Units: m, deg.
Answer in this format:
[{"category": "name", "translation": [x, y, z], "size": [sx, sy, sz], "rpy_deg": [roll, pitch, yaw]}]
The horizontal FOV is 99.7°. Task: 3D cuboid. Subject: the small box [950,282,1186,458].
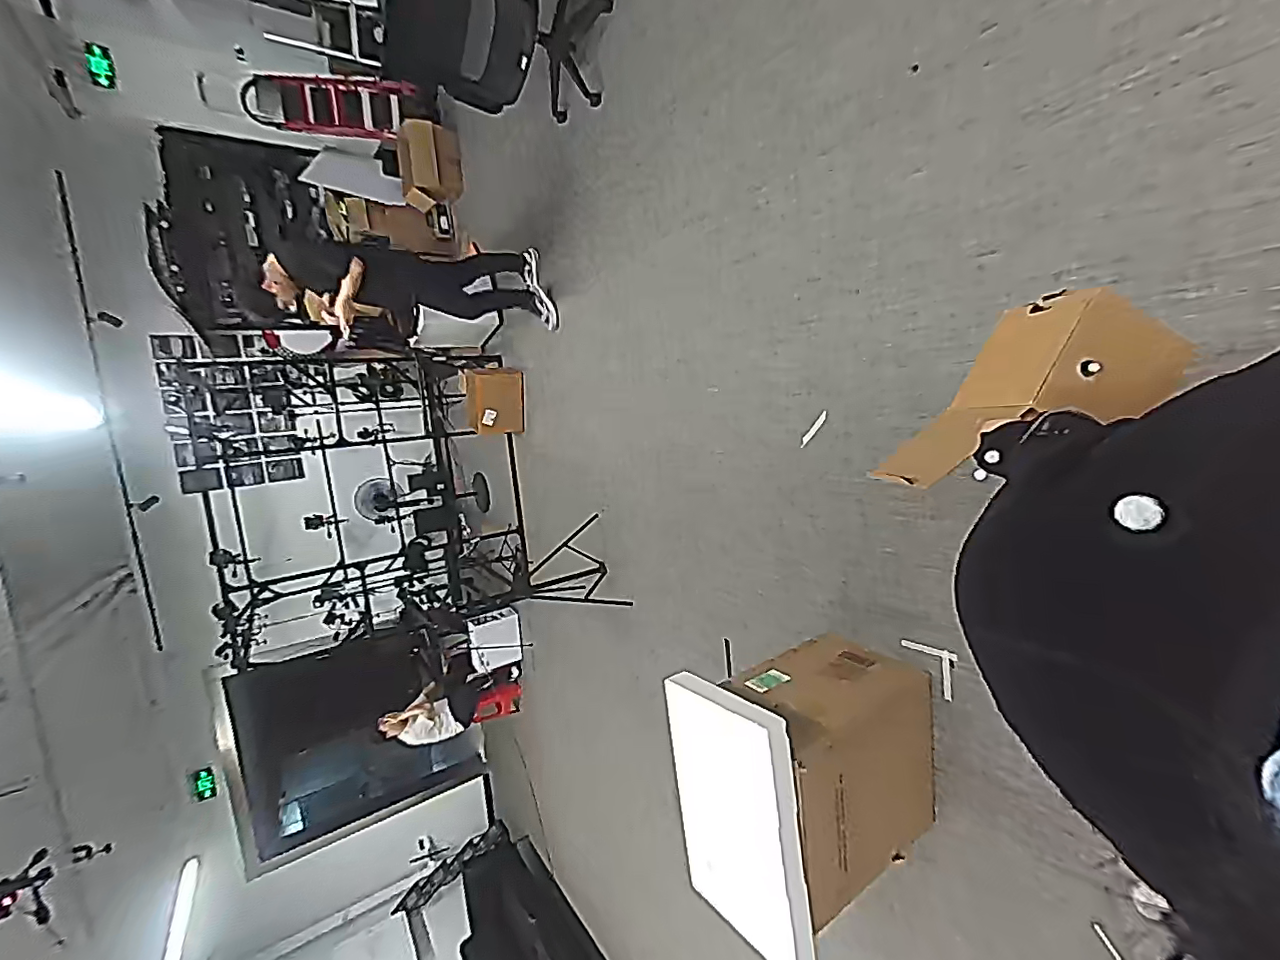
[{"category": "small box", "translation": [0.598, -0.145, 0.767], "size": [0.179, 0.176, 0.168], "rpy_deg": [-63, 8, 4]}]
